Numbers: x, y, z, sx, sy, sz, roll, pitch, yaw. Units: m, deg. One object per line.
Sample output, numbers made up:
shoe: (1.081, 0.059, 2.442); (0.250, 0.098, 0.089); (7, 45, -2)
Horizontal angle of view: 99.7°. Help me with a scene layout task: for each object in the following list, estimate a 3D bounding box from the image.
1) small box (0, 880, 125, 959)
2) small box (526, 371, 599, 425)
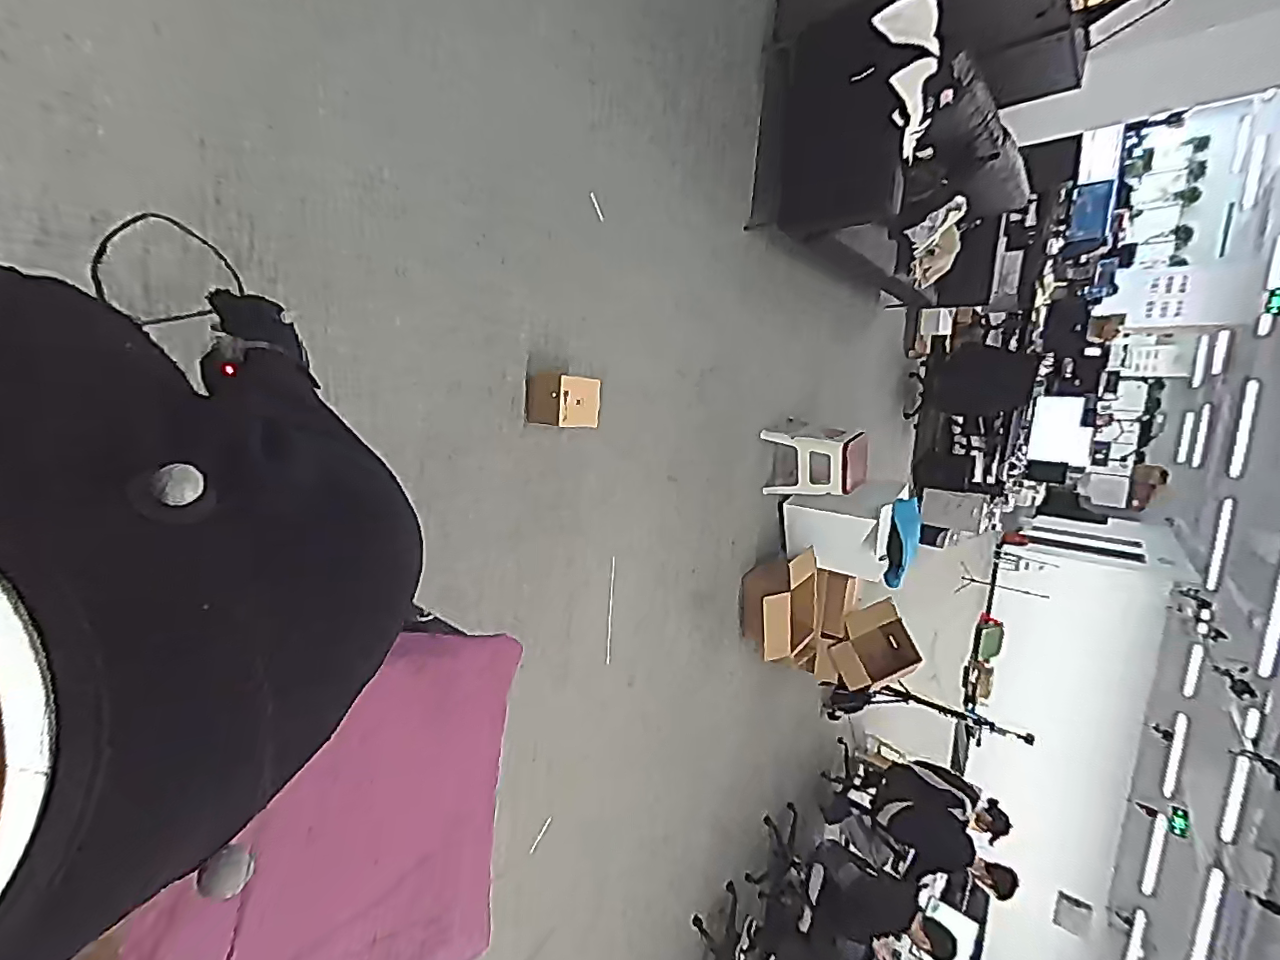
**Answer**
small box: (-0.602, 0.522, 0.499); (0.168, 0.176, 0.179); (1, 98, -49)
small box: (-0.263, -0.279, 1.833); (0.179, 0.176, 0.168); (-4, 101, -49)
